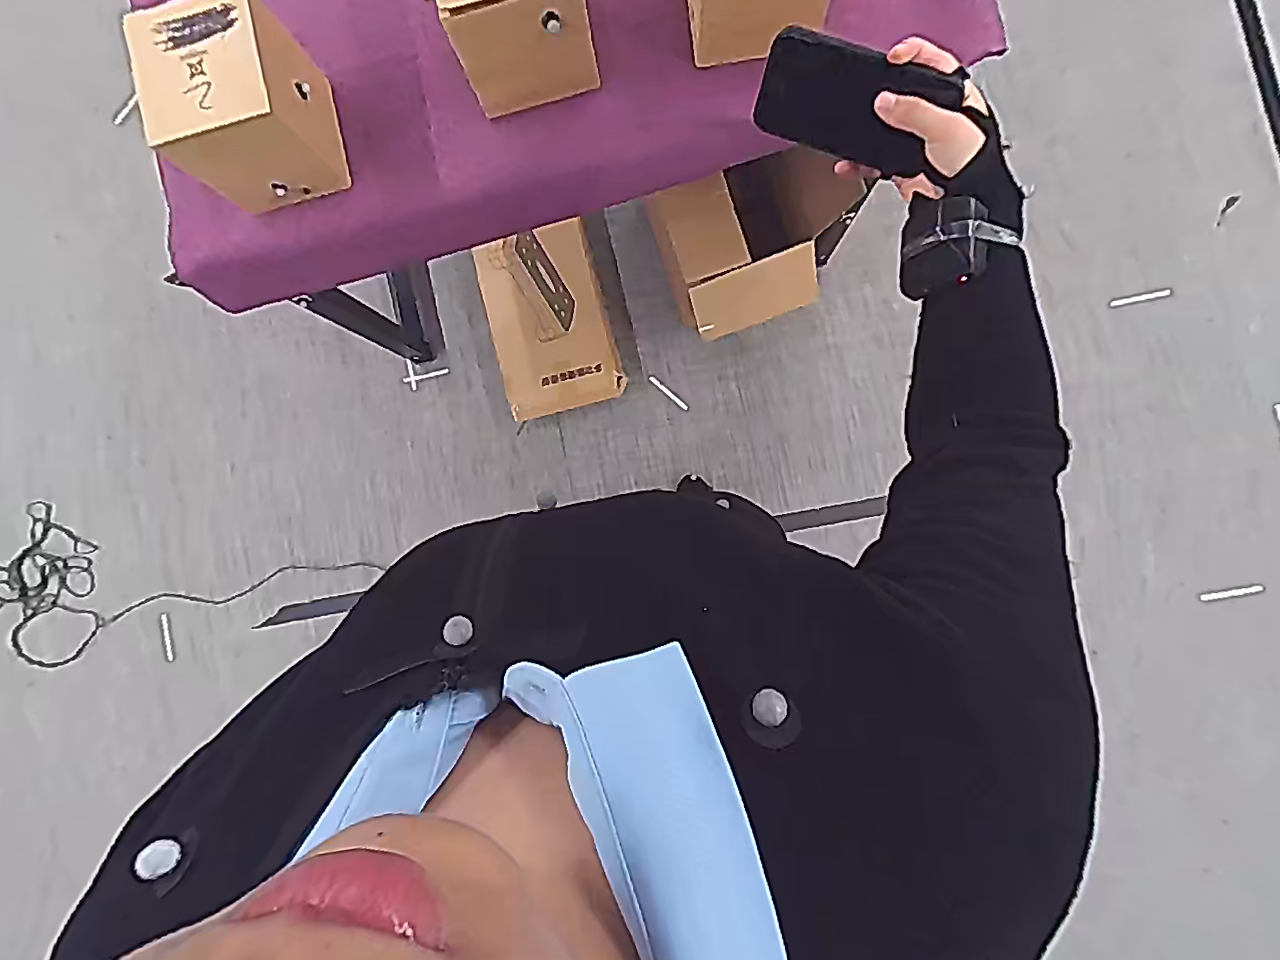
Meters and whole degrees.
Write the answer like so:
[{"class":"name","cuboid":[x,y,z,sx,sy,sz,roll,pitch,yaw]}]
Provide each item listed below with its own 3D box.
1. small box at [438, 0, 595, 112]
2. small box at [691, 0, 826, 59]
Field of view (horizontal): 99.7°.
[{"class":"small box","cuboid":[-0.162,-0.636,0.714,0.179,0.176,0.168,-14,85,3]},{"class":"small box","cuboid":[0.151,-0.689,0.696,0.179,0.176,0.168,-7,88,3]}]
